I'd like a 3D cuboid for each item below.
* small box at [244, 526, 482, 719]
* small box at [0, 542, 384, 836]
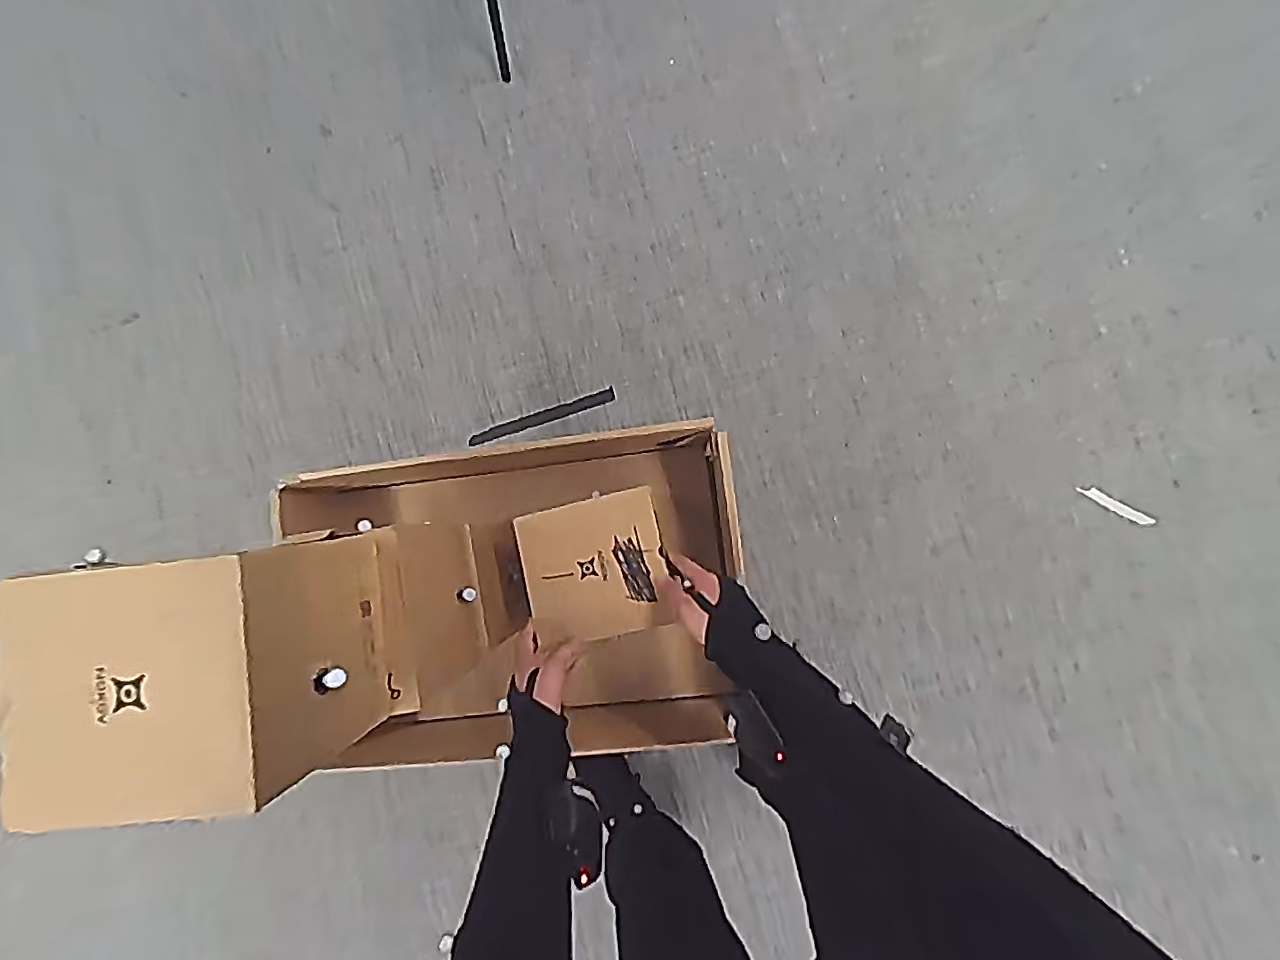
[{"bbox_3d":[-0.288,0.148,0.589,0.168,0.176,0.179,-10,86,3],"label":"small box"},{"bbox_3d":[-0.324,0.143,0.428,0.179,0.176,0.168,-7,86,4],"label":"small box"}]
